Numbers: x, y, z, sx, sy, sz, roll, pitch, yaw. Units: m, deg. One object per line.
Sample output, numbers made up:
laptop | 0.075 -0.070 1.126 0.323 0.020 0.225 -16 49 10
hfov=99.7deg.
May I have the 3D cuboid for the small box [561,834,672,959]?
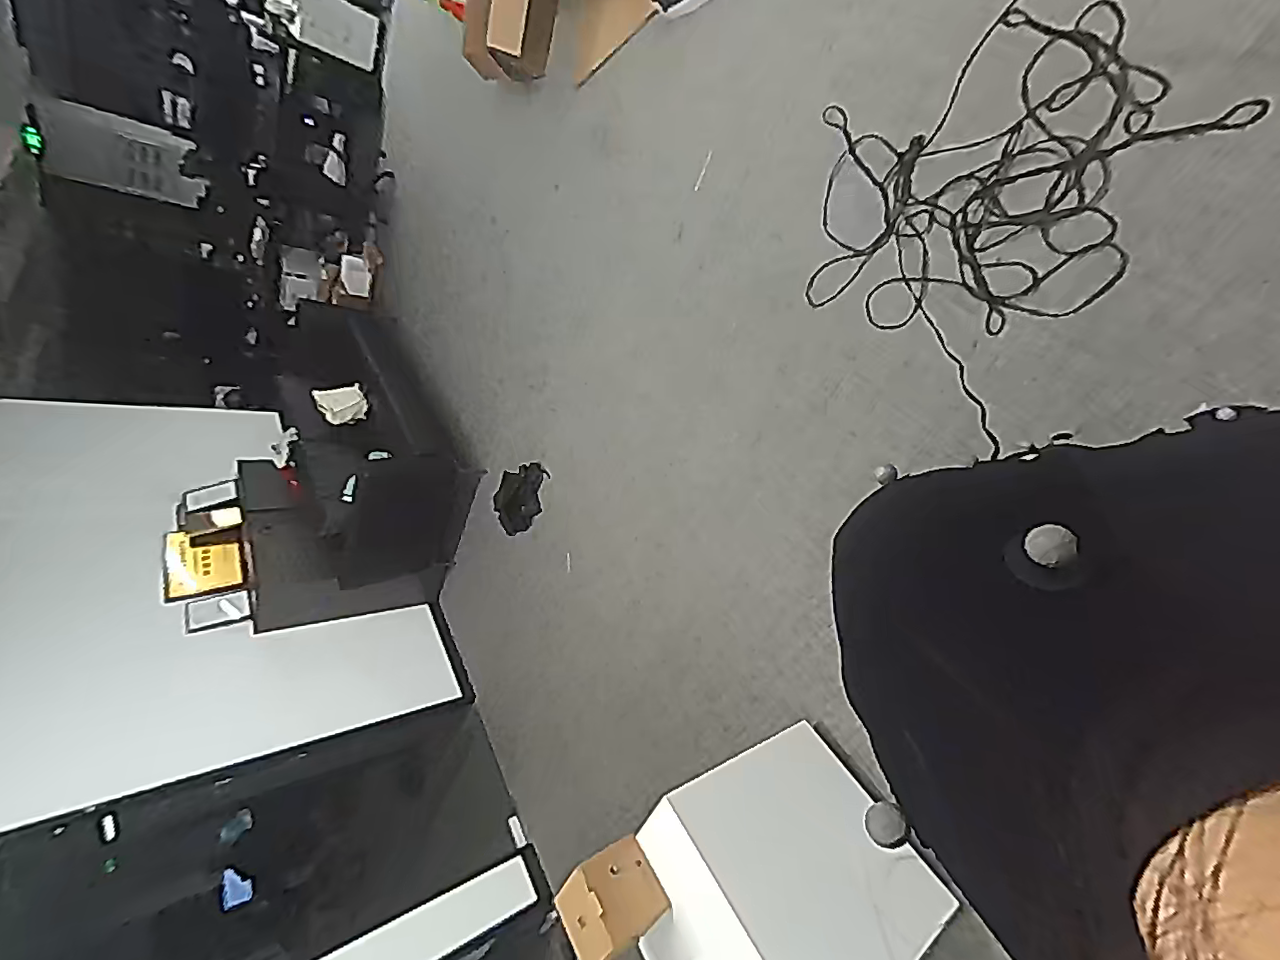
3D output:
small box | -0.052 0.960 1.242 0.168 0.176 0.179 49 127 38
